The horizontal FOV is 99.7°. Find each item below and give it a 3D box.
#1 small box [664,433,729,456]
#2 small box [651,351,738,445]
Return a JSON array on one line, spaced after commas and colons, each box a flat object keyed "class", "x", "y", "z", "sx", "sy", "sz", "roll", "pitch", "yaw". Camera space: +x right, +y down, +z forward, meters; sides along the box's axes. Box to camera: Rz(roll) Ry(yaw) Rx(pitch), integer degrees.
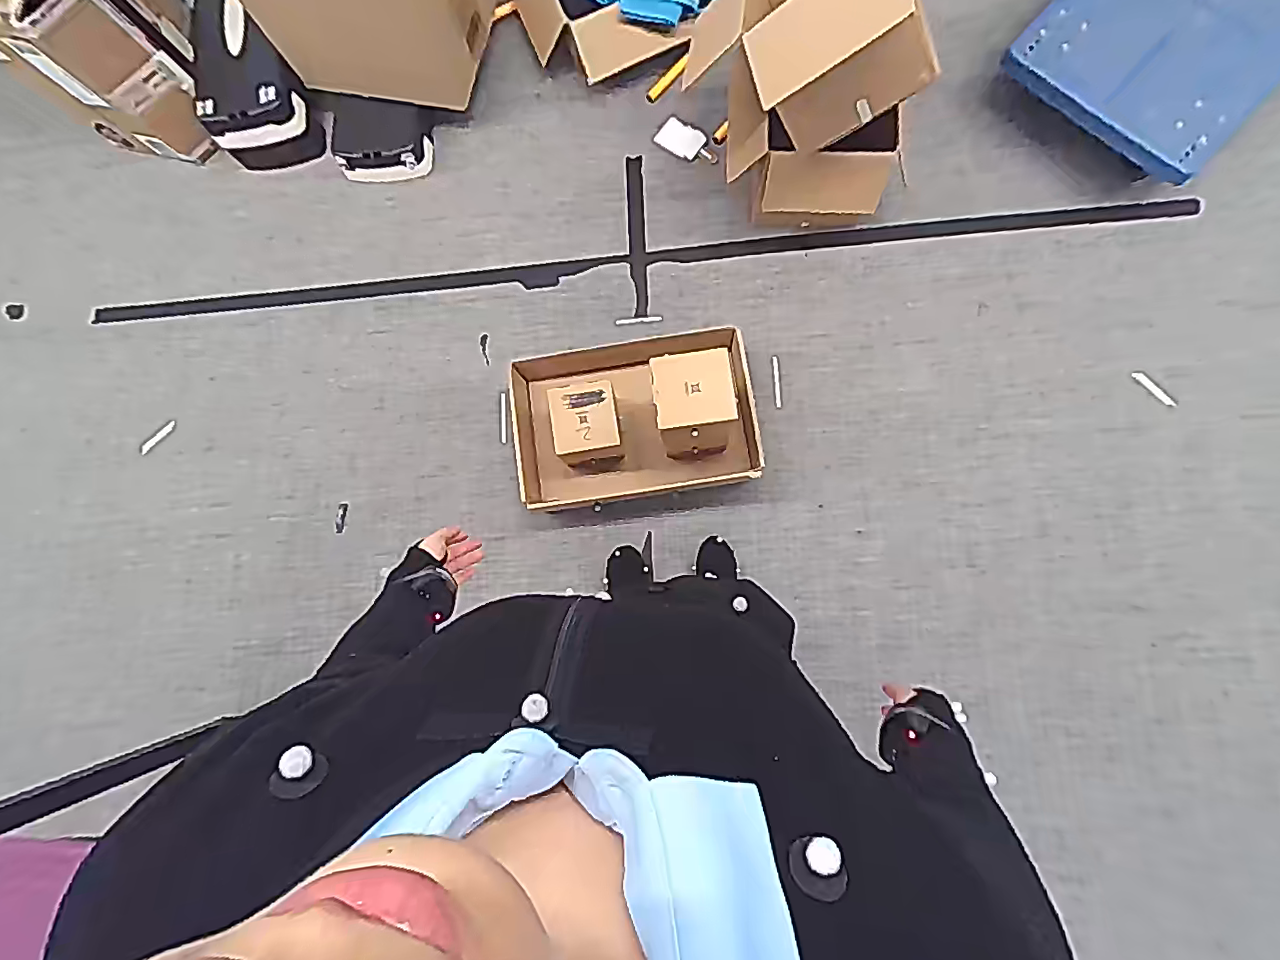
[{"class": "small box", "x": 0.138, "y": -0.165, "z": 1.420, "sx": 0.168, "sy": 0.176, "sz": 0.179, "roll": -7, "pitch": 81, "yaw": 3}, {"class": "small box", "x": 0.123, "y": -0.185, "z": 1.260, "sx": 0.179, "sy": 0.176, "sz": 0.168, "roll": -8, "pitch": 82, "yaw": 4}]
